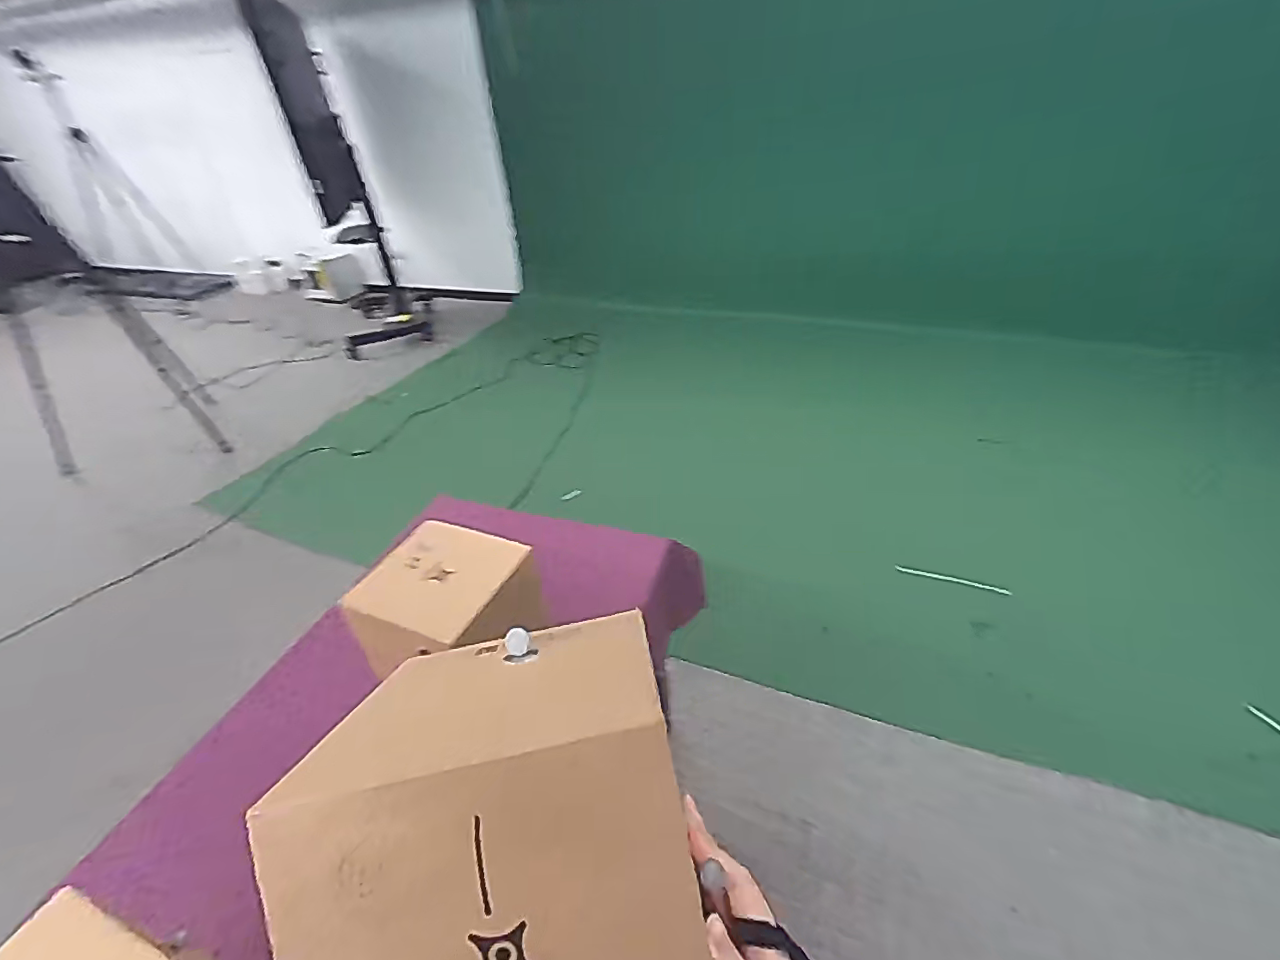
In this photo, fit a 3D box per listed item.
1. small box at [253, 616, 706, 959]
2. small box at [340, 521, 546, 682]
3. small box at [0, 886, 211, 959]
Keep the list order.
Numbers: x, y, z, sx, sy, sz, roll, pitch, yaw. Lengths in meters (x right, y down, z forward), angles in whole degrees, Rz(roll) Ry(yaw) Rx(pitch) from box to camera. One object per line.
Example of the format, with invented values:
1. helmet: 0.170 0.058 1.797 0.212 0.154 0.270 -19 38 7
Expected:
1. small box: -0.058 0.192 0.294 0.168 0.179 0.176 -10 1 -2
2. small box: -0.247 0.184 0.724 0.179 0.176 0.168 11 38 22
3. small box: -0.395 0.444 0.386 0.179 0.176 0.168 10 38 21
